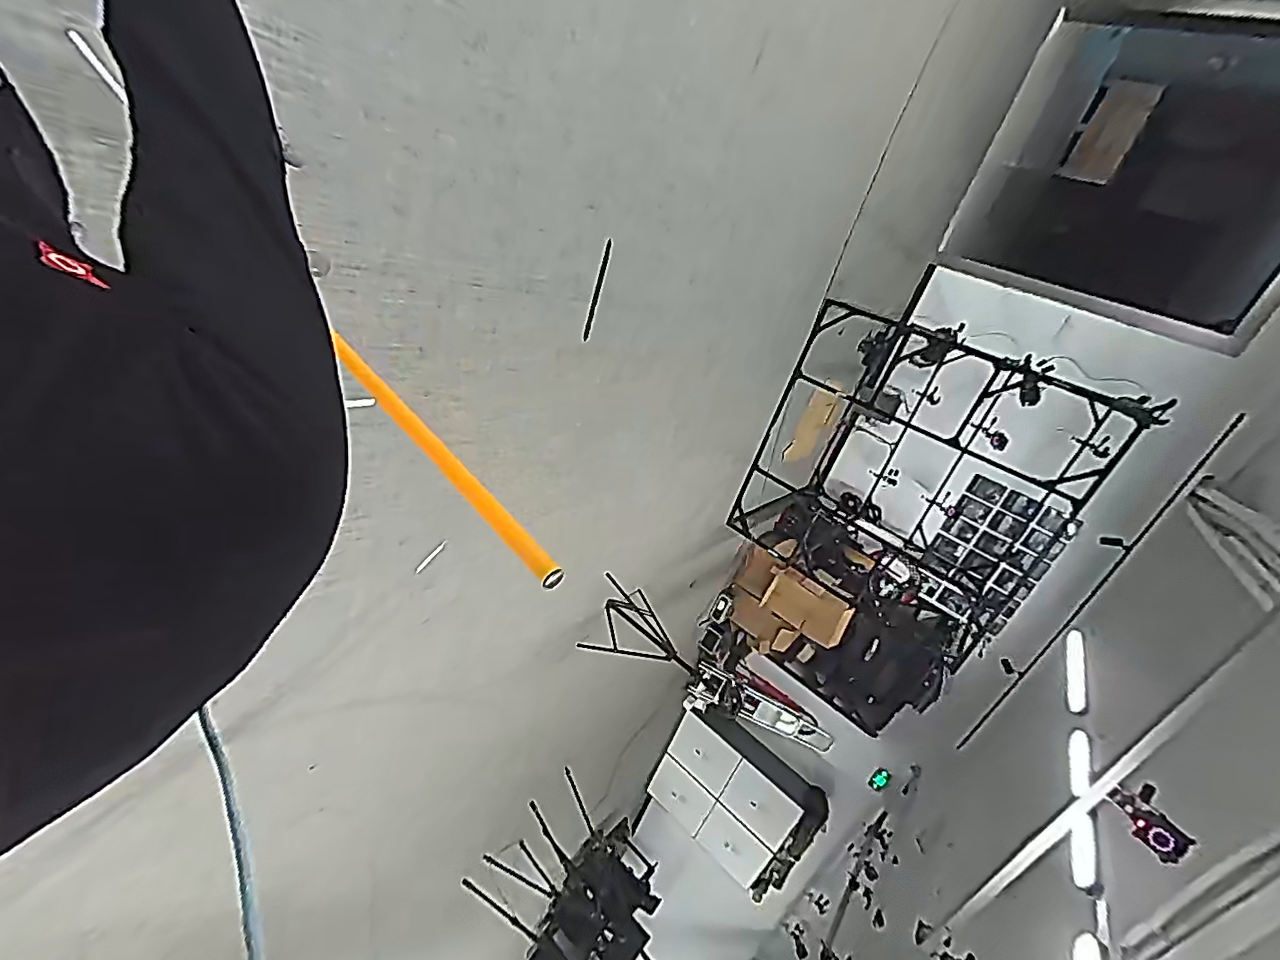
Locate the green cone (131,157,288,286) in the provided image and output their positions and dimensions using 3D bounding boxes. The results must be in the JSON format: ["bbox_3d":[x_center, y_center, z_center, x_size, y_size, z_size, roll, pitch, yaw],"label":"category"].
[{"bbox_3d":[-0.789,-0.448,1.040,0.202,0.368,0.200,-12,129,-56],"label":"green cone"}]
